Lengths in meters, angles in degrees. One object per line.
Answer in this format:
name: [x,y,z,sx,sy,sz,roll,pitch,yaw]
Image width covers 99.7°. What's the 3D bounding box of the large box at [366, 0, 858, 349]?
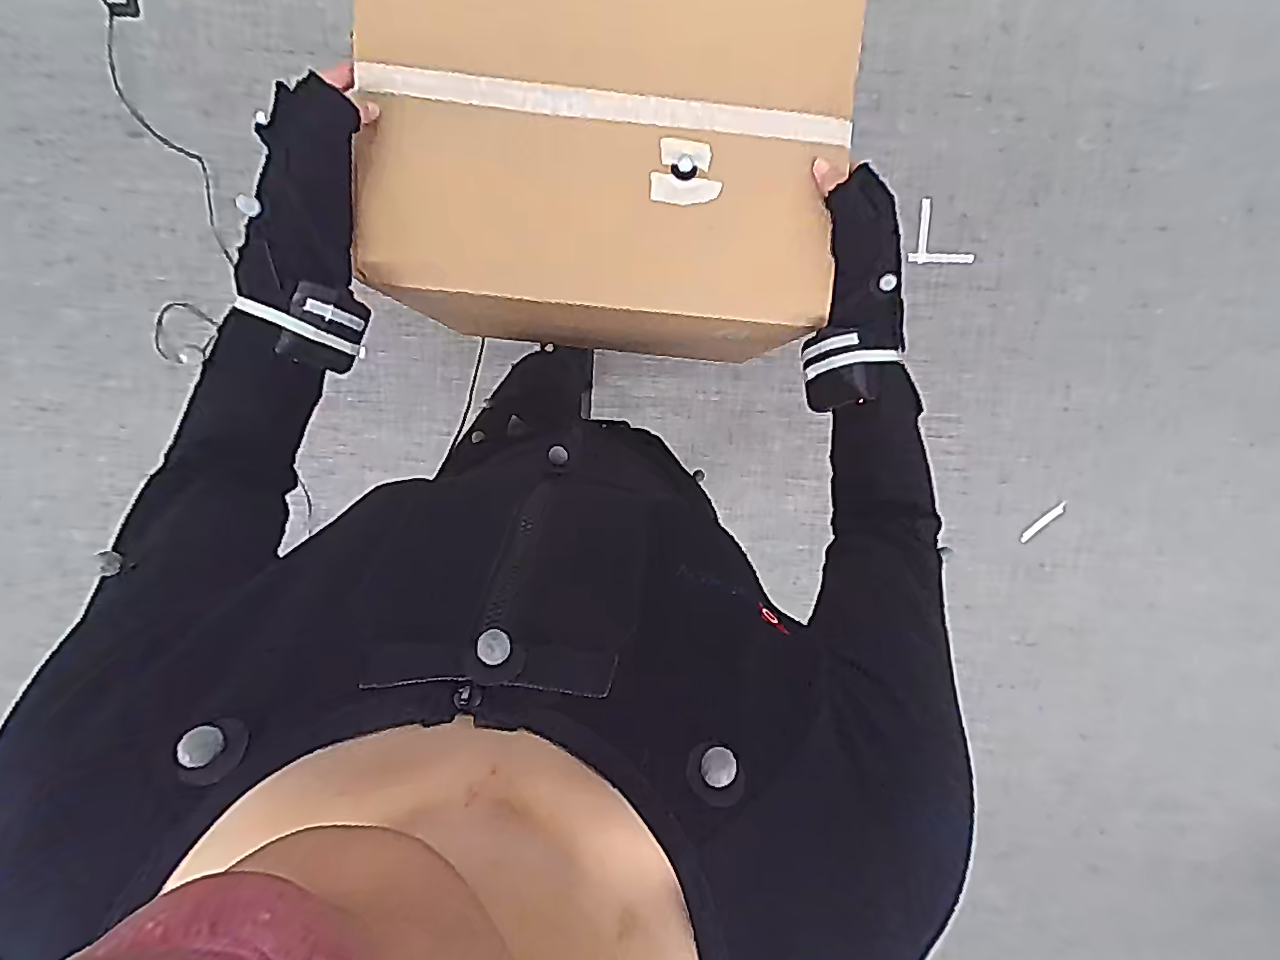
large box: [-0.031,-0.334,0.596,0.408,0.320,0.320,5,97,-3]
